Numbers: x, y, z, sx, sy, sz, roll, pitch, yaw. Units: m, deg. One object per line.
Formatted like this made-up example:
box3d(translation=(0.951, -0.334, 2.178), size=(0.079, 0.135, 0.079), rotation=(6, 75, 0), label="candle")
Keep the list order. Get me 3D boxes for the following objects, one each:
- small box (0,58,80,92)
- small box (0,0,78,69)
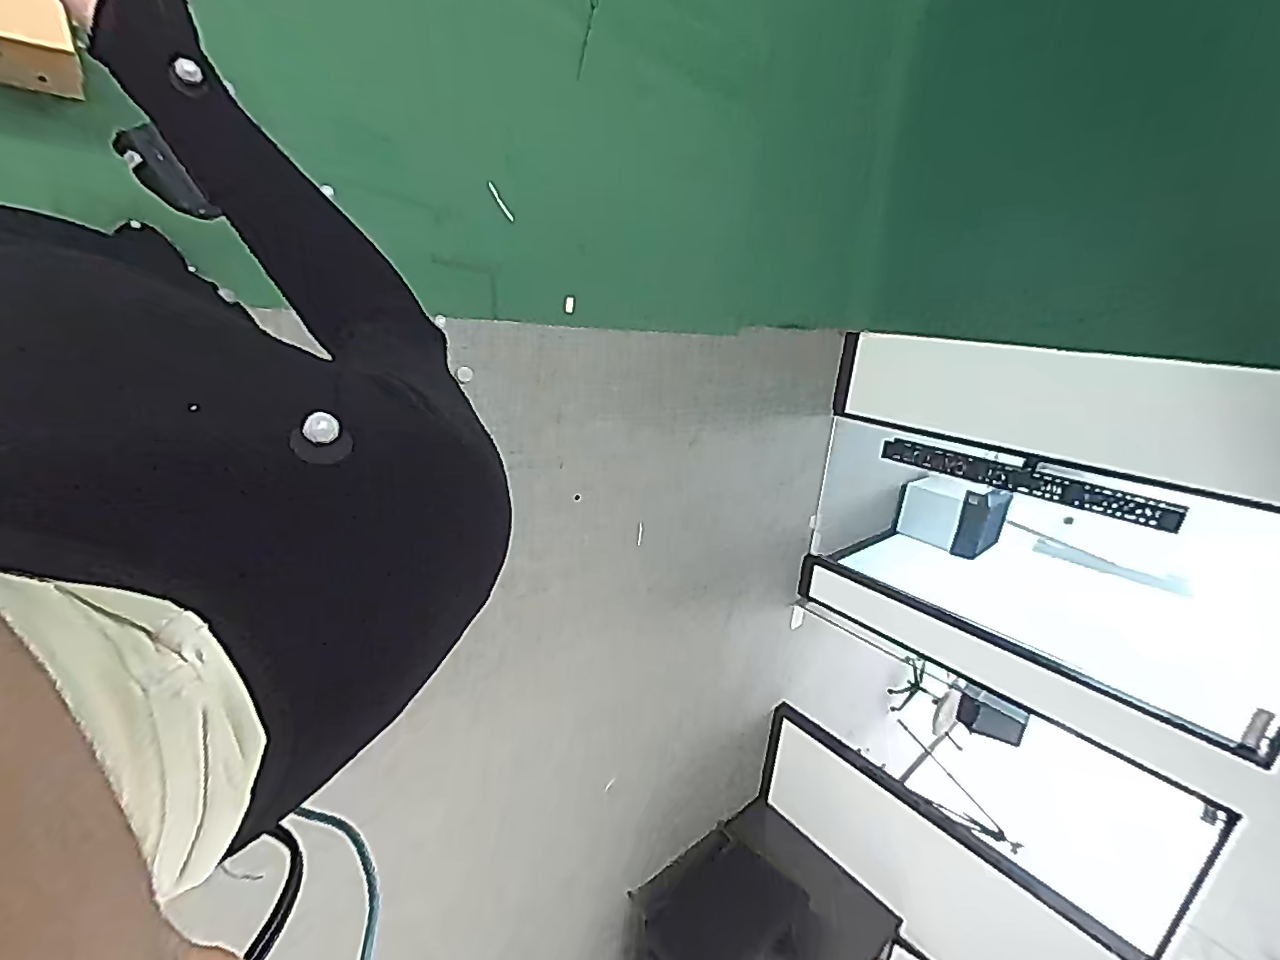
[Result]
box3d(translation=(-1.079, -0.781, 0.907), size=(0.179, 0.176, 0.168), rotation=(-10, 113, -39), label="small box")
box3d(translation=(-0.970, -0.737, 0.795), size=(0.179, 0.176, 0.168), rotation=(-12, 115, -37), label="small box")
